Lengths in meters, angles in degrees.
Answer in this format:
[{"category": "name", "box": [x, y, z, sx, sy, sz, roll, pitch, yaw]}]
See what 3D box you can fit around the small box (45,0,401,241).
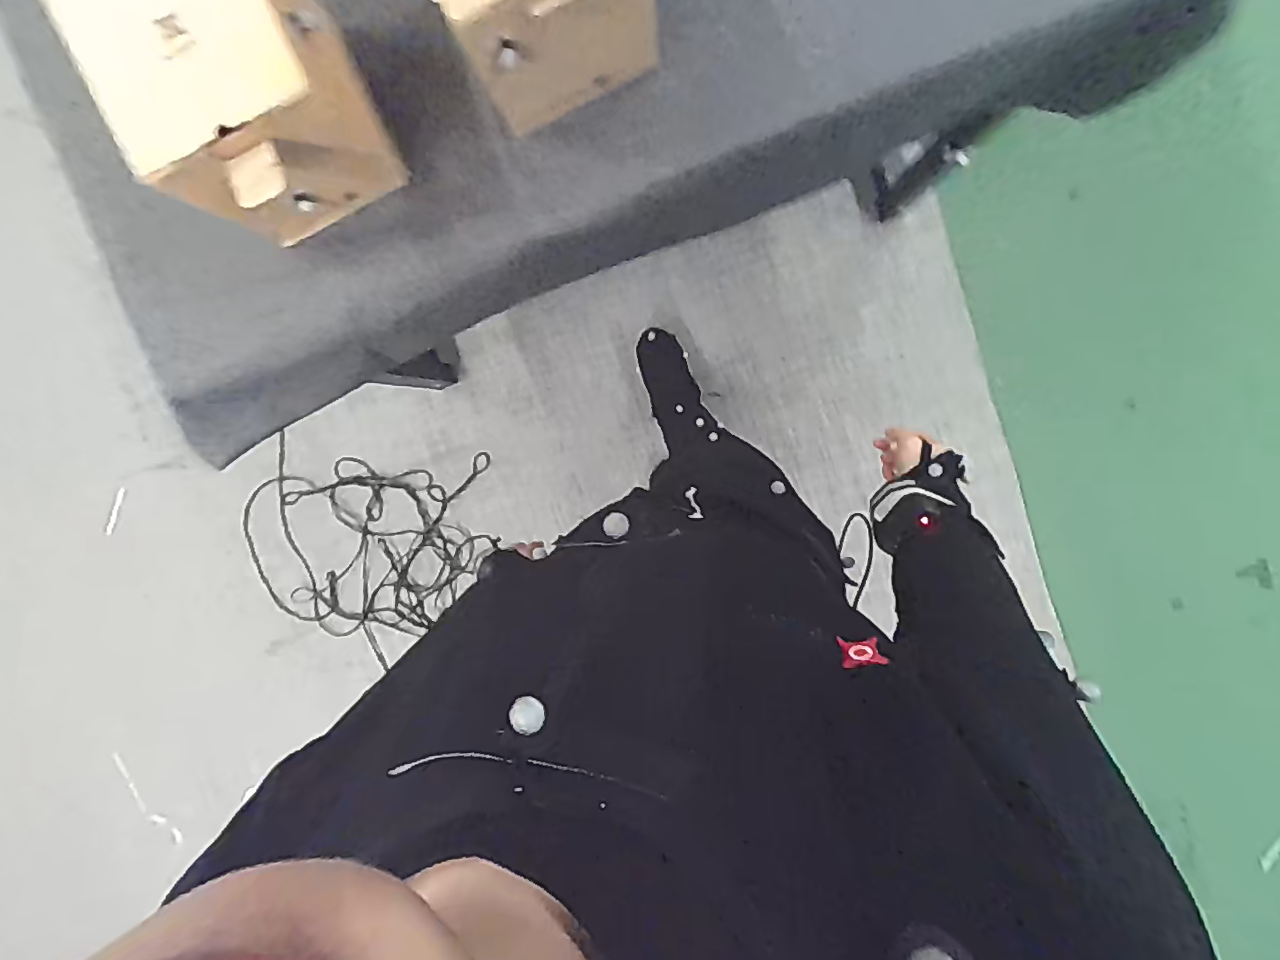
[{"category": "small box", "box": [-0.365, -0.361, 0.505, 0.168, 0.176, 0.179, -25, 95, 5]}]
